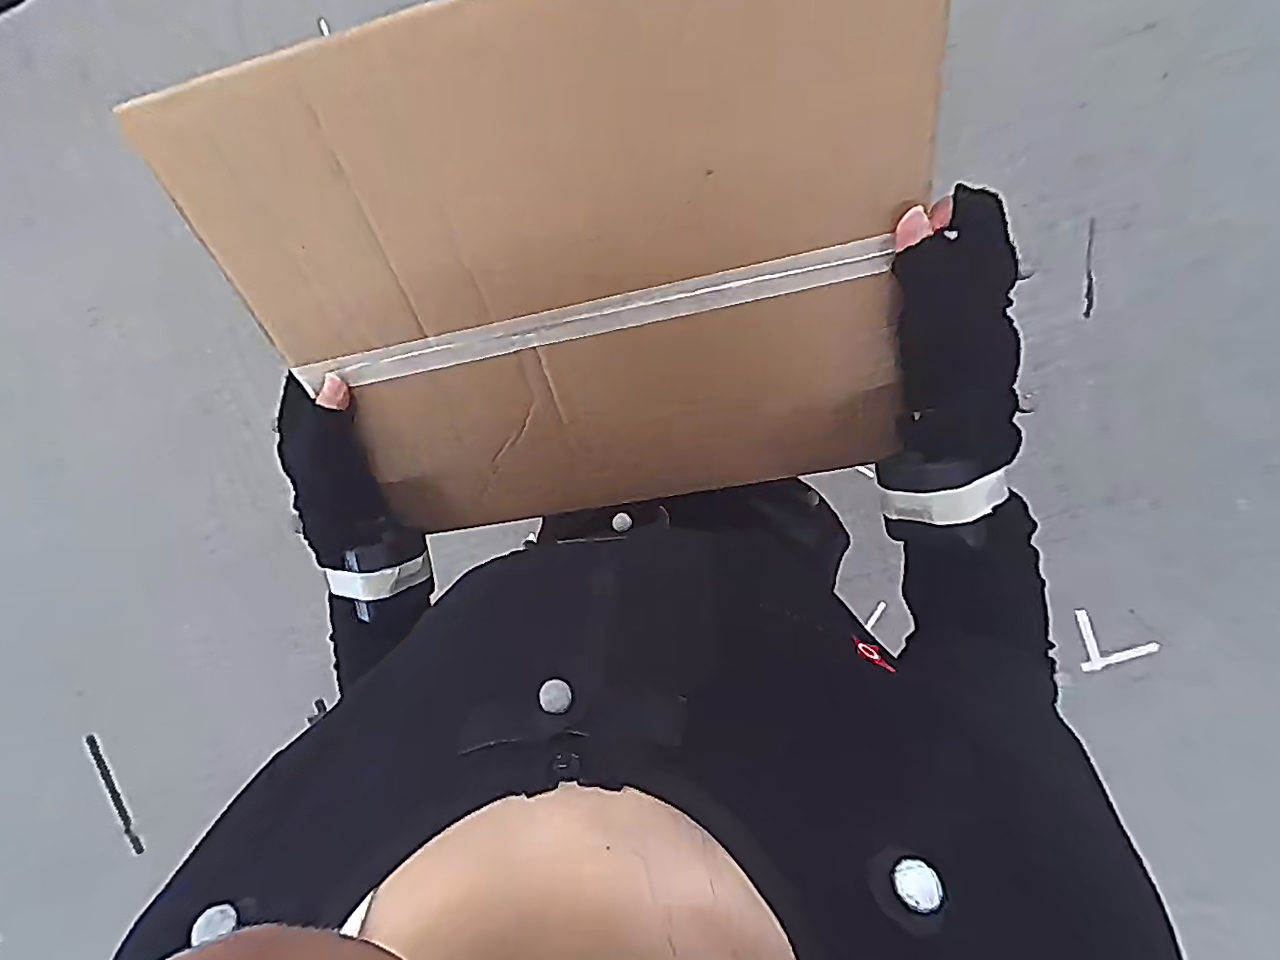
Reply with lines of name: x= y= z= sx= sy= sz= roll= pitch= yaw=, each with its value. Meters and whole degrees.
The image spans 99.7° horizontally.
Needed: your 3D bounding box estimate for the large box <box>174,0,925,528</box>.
large box: x=-0.027 y=-0.200 z=0.469 sx=0.408 sy=0.320 sz=0.320 roll=-10 pitch=128 yaw=9
